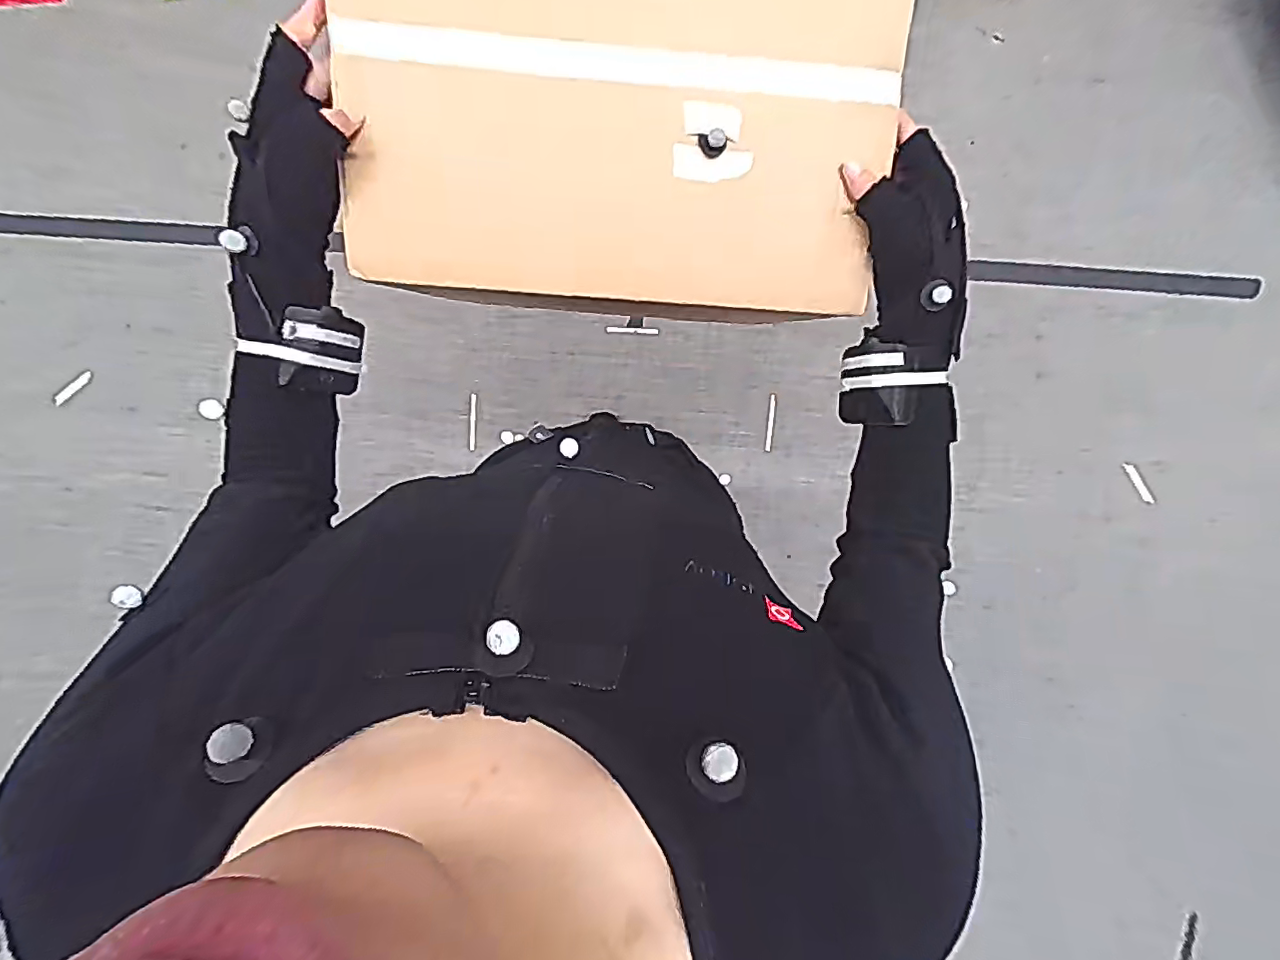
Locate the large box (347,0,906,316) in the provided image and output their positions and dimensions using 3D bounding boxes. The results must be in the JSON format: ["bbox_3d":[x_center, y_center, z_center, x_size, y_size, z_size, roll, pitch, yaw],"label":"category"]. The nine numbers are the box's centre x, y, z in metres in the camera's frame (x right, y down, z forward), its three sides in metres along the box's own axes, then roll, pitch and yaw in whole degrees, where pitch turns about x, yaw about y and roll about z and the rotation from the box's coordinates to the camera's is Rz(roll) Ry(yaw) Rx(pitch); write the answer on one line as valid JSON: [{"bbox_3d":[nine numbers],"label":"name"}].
[{"bbox_3d":[-0.019,-0.339,0.538,0.408,0.320,0.320,2,105,-5],"label":"large box"}]
